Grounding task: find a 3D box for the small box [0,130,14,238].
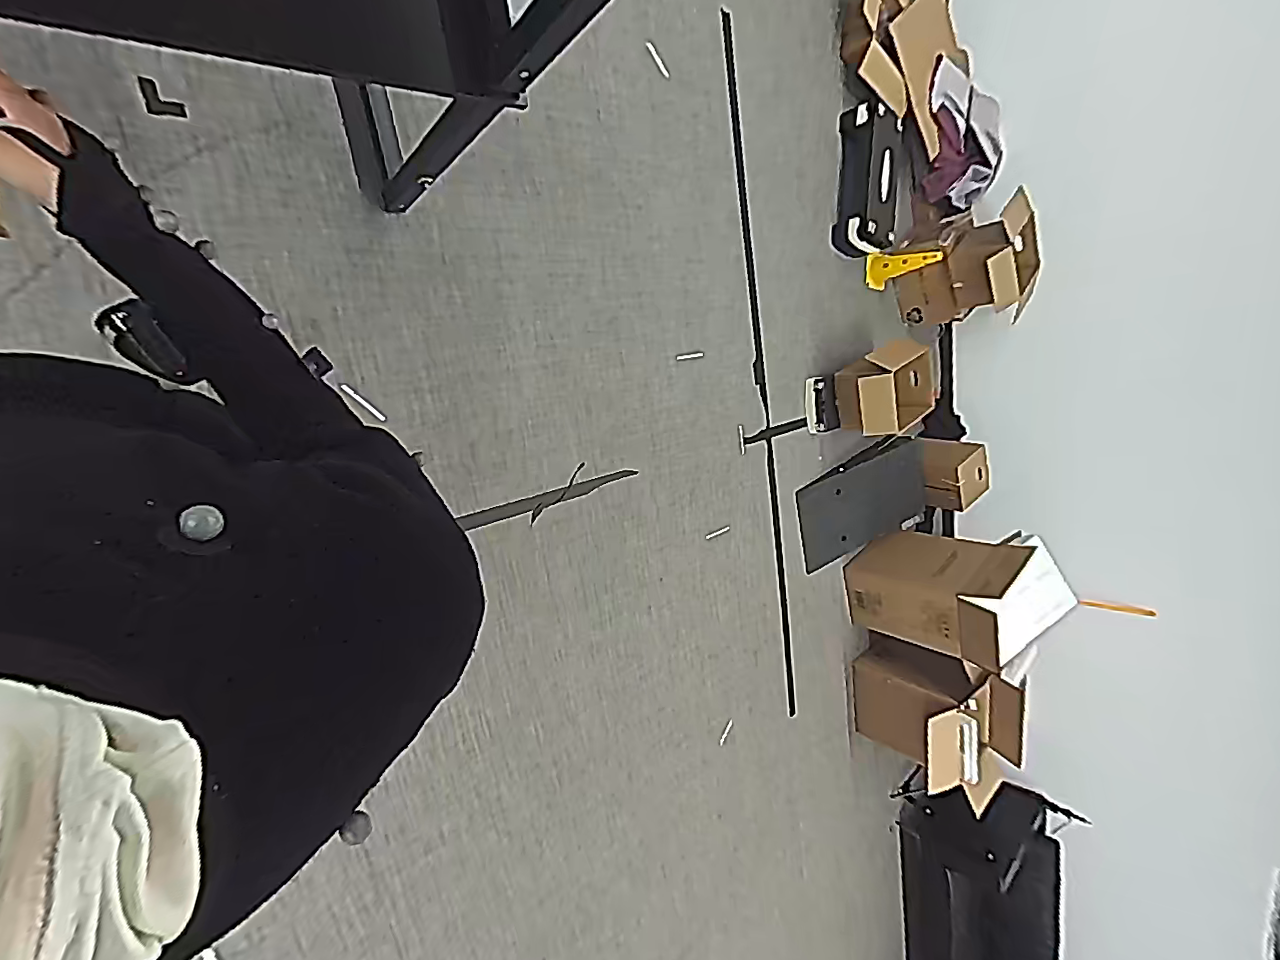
[{"bbox_3d":[-0.602,-0.294,0.393,0.168,0.176,0.179,-10,104,-43],"label":"small box"}]
